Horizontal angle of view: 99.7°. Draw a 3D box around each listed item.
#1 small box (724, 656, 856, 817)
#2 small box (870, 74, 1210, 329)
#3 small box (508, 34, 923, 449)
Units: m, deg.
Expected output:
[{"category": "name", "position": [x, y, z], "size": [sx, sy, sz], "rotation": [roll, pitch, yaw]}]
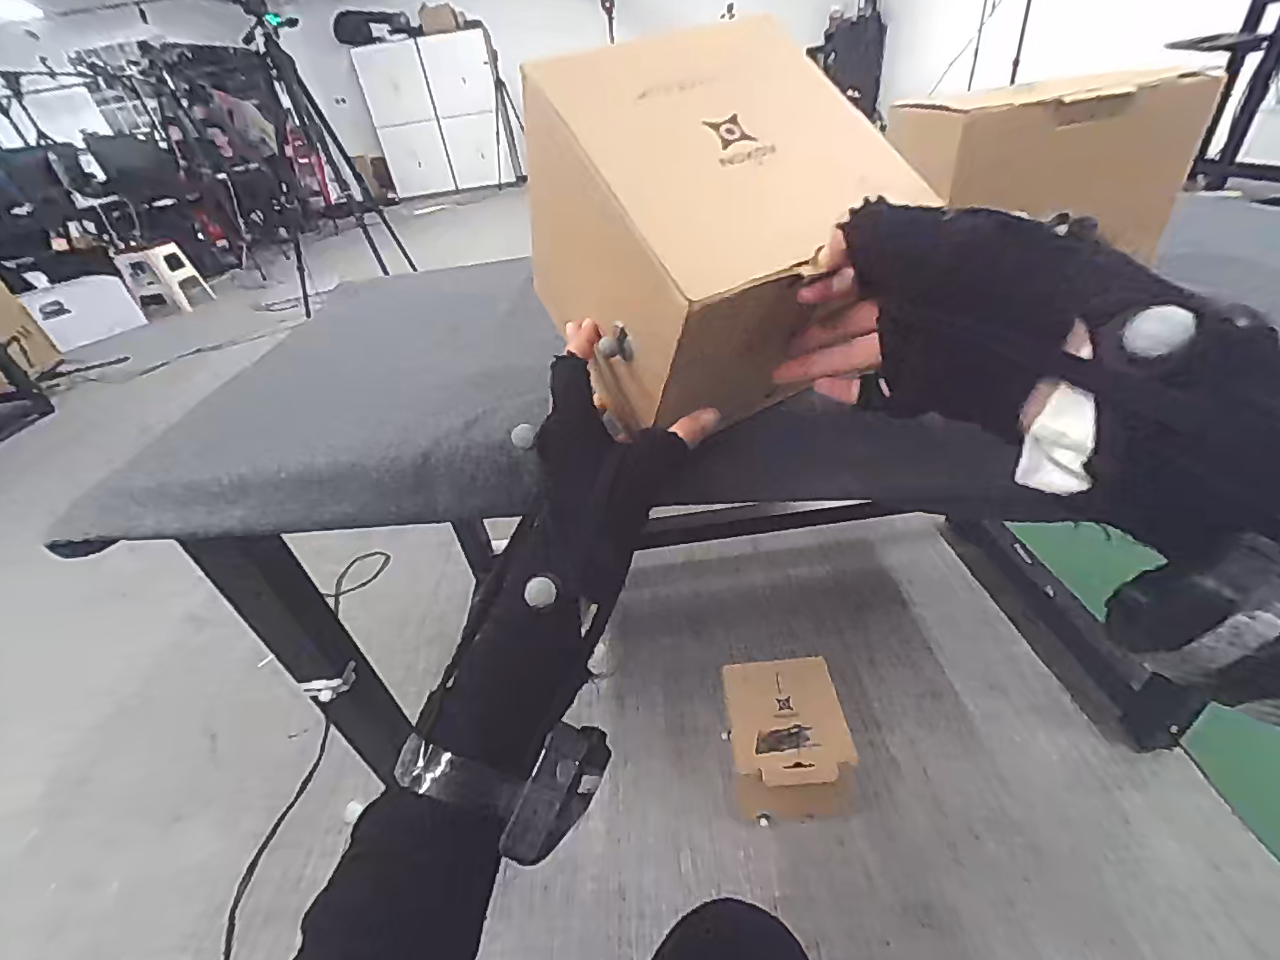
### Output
[{"category": "small box", "position": [0.229, 0.409, 0.856], "size": [0.168, 0.176, 0.179], "rotation": [-7, 34, 5]}, {"category": "small box", "position": [0.318, -0.242, 0.483], "size": [0.168, 0.176, 0.179], "rotation": [-4, 36, 7]}, {"category": "small box", "position": [0.032, -0.142, 0.361], "size": [0.168, 0.176, 0.179], "rotation": [-26, 71, -18]}]
